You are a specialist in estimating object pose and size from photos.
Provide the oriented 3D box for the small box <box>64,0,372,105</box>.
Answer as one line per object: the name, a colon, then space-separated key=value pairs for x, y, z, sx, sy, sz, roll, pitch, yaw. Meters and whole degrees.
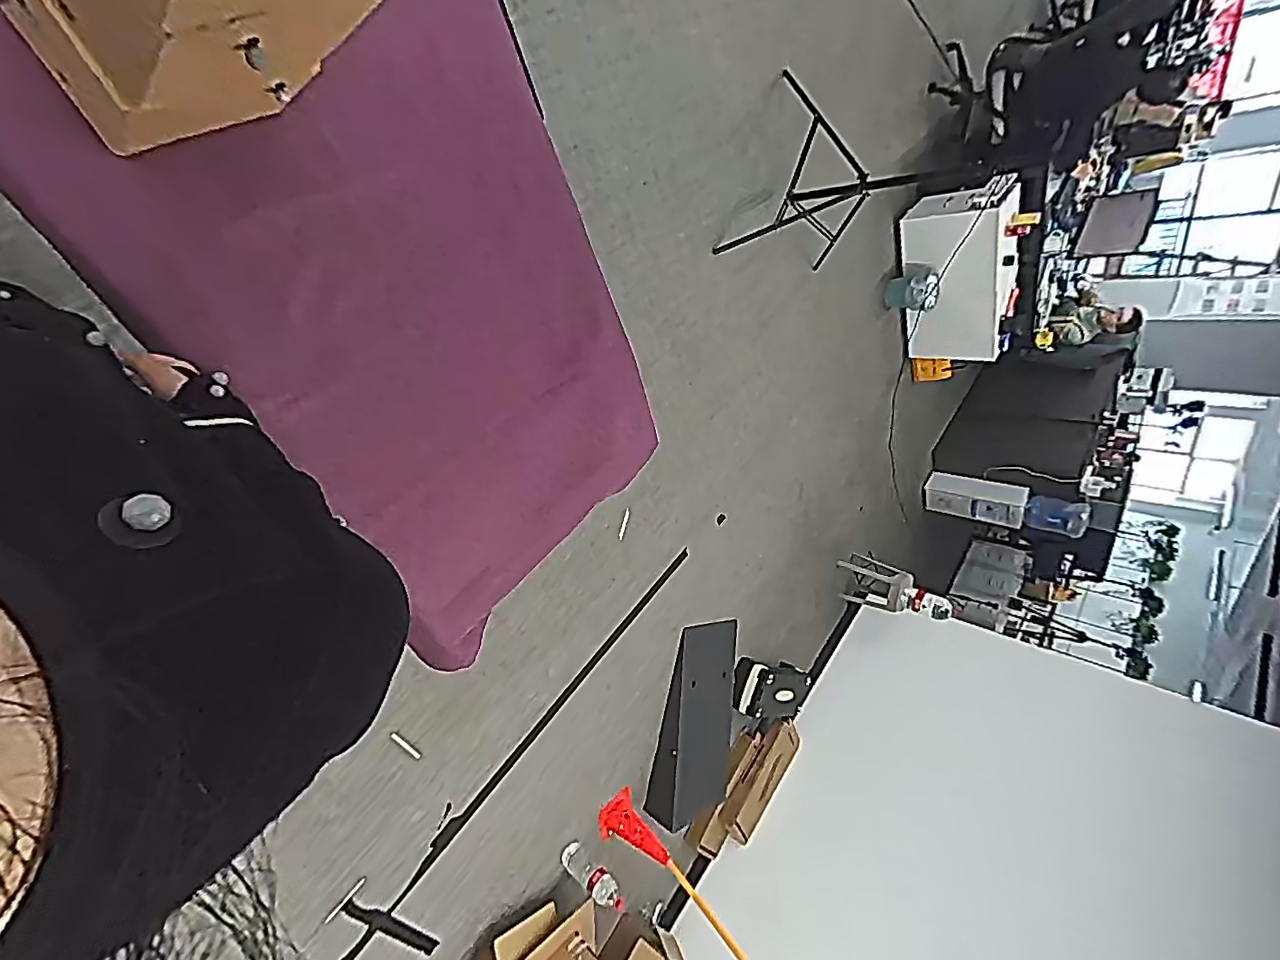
small box: x=-0.325 y=-0.399 z=0.382 sx=0.179 sy=0.176 sz=0.168 roll=-46 pitch=131 yaw=-28

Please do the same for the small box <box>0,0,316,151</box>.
small box: x=-0.446 y=-0.425 z=0.490 sx=0.179 sy=0.176 sz=0.168 roll=-45 pitch=130 yaw=-30
